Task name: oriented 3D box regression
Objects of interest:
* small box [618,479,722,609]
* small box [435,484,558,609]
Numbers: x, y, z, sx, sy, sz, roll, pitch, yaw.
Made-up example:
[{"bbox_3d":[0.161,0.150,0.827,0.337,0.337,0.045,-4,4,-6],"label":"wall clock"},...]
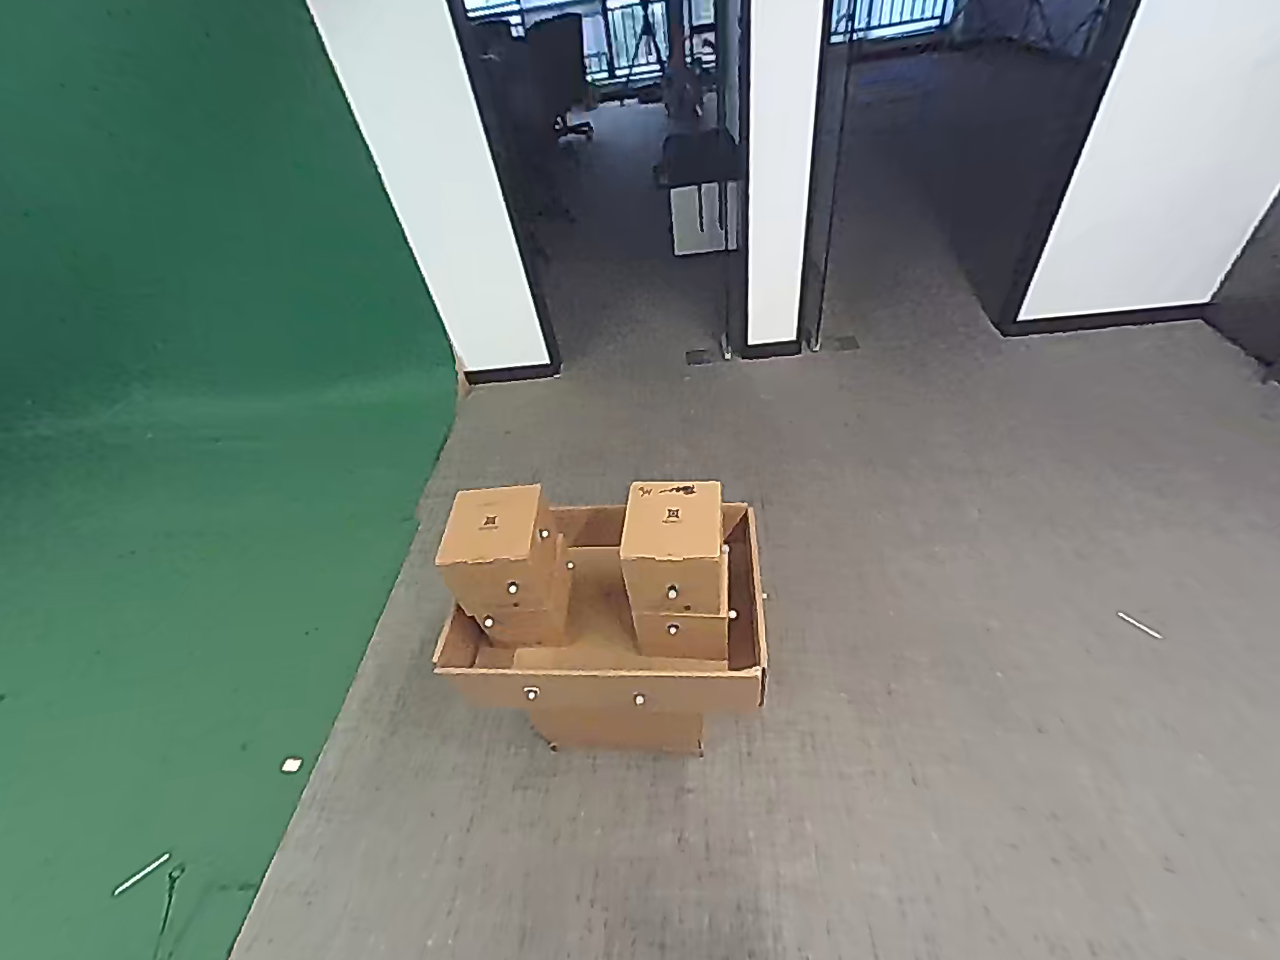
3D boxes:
[{"bbox_3d":[0.063,0.118,0.976,0.168,0.176,0.179,0,46,9],"label":"small box"},{"bbox_3d":[-0.259,0.132,1.023,0.168,0.176,0.179,-5,45,5],"label":"small box"}]
